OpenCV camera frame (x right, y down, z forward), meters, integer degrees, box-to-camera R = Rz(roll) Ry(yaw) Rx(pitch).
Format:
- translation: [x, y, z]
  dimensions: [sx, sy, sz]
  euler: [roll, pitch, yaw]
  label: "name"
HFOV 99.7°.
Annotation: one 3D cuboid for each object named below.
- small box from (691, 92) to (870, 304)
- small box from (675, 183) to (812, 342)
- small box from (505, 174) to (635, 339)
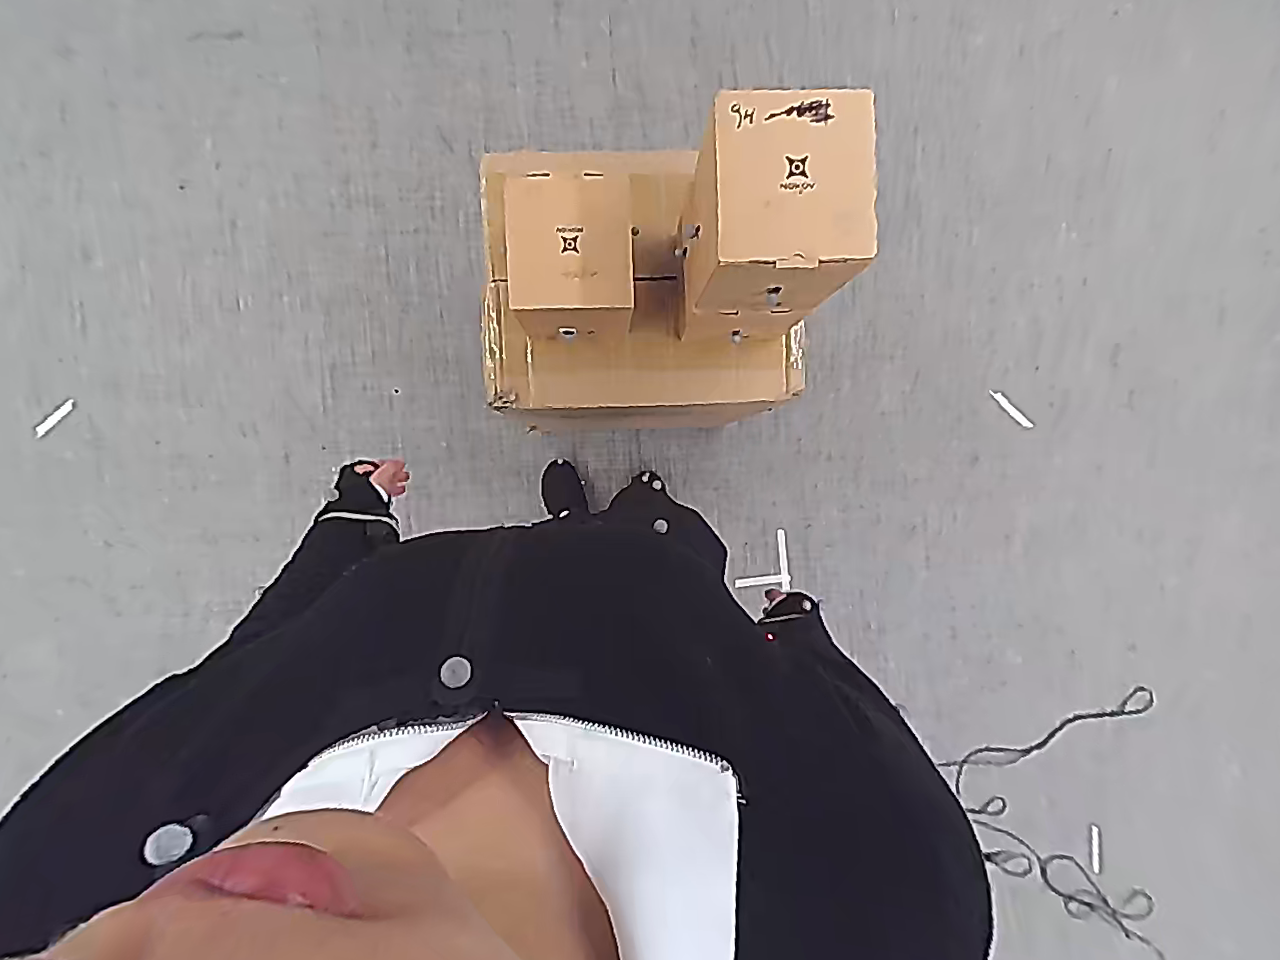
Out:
- translation: [0.153, -0.312, 0.635]
  dimensions: [0.168, 0.176, 0.179]
  euler: [-2, 92, -2]
  label: "small box"
- translation: [0.143, -0.312, 0.799]
  dimensions: [0.168, 0.176, 0.179]
  euler: [-3, 92, -1]
  label: "small box"
- translation: [-0.097, -0.314, 0.787]
  dimensions: [0.168, 0.176, 0.179]
  euler: [-3, 93, -3]
  label: "small box"
